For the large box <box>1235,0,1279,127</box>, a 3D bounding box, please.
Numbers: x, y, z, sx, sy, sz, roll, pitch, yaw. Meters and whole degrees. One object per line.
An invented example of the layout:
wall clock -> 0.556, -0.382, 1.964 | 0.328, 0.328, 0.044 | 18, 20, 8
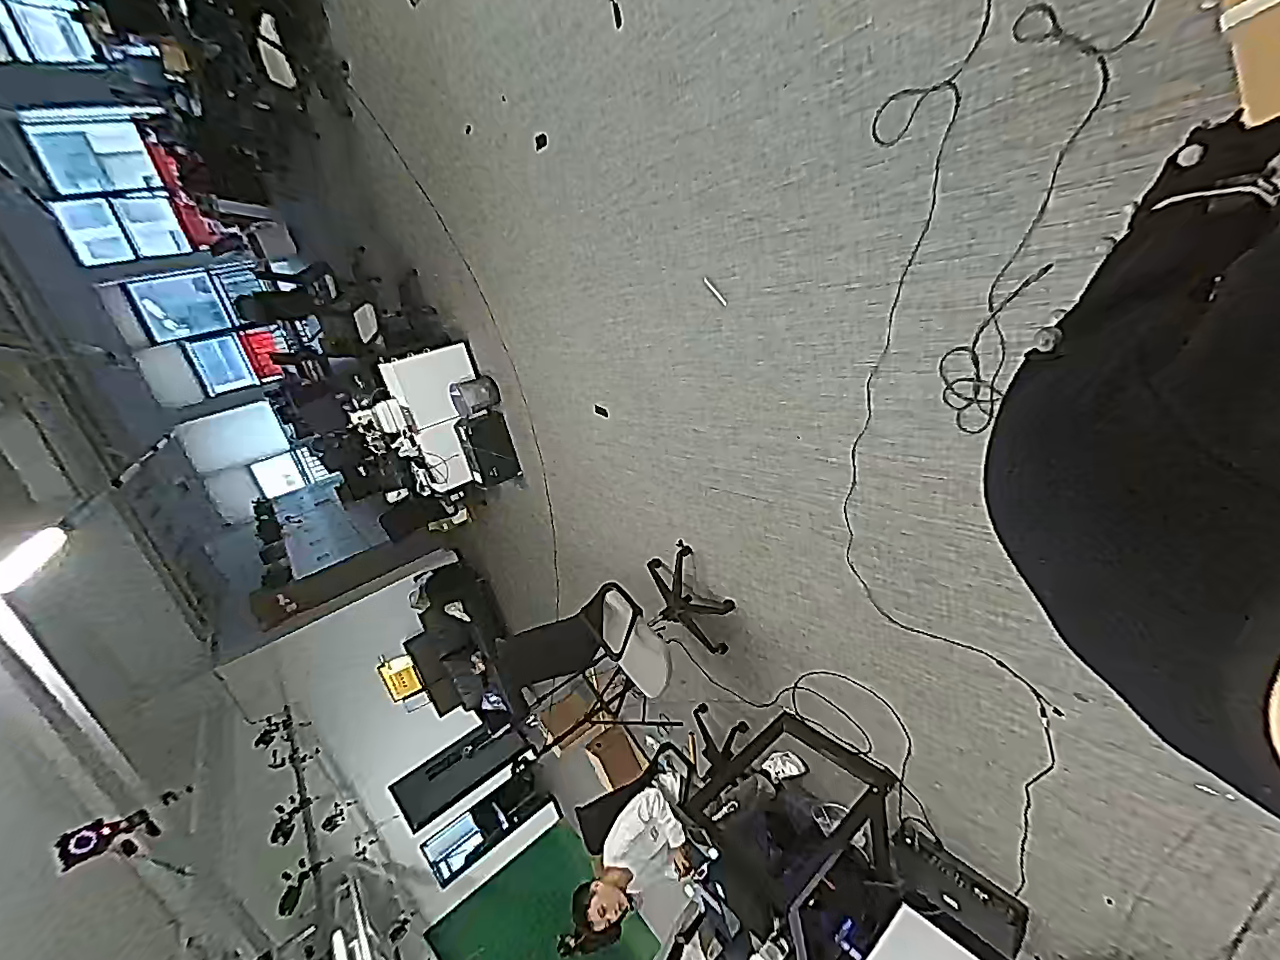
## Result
large box -> 1.013, -0.684, 0.629 | 0.408, 0.320, 0.320 | -5, 108, 57
